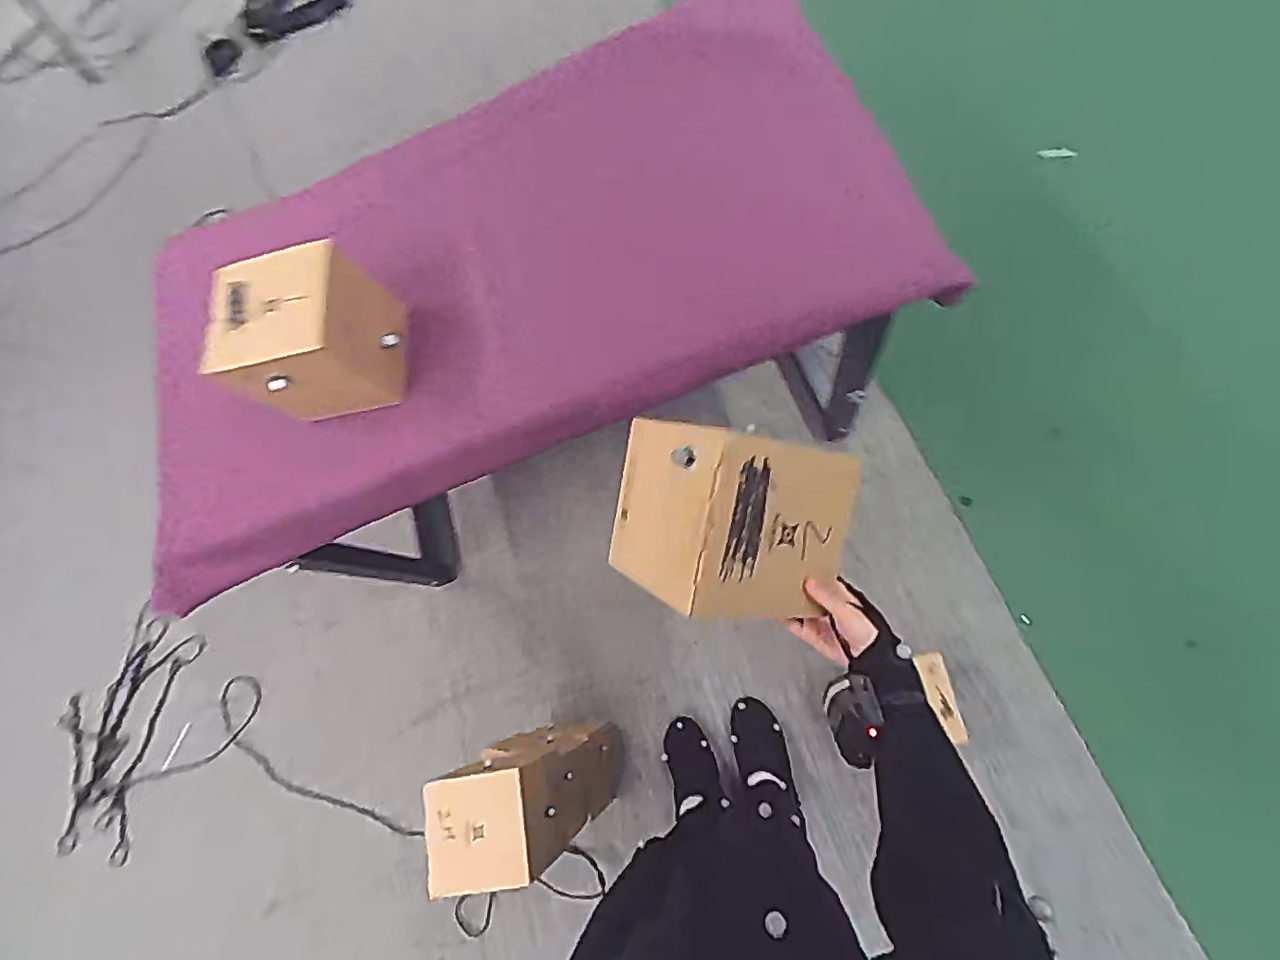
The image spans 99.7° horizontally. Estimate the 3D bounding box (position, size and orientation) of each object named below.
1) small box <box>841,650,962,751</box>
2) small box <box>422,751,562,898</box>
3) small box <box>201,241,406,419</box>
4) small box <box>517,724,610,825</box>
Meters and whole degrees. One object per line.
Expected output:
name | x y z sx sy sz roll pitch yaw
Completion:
small box | 0.529 0.452 1.126 0.179 0.176 0.168 -13 73 10
small box | -0.244 0.577 0.926 0.179 0.176 0.168 -14 71 10
small box | -0.464 -0.199 0.769 0.179 0.176 0.168 -9 73 10
small box | -0.171 0.661 1.233 0.168 0.176 0.179 -7 74 12
